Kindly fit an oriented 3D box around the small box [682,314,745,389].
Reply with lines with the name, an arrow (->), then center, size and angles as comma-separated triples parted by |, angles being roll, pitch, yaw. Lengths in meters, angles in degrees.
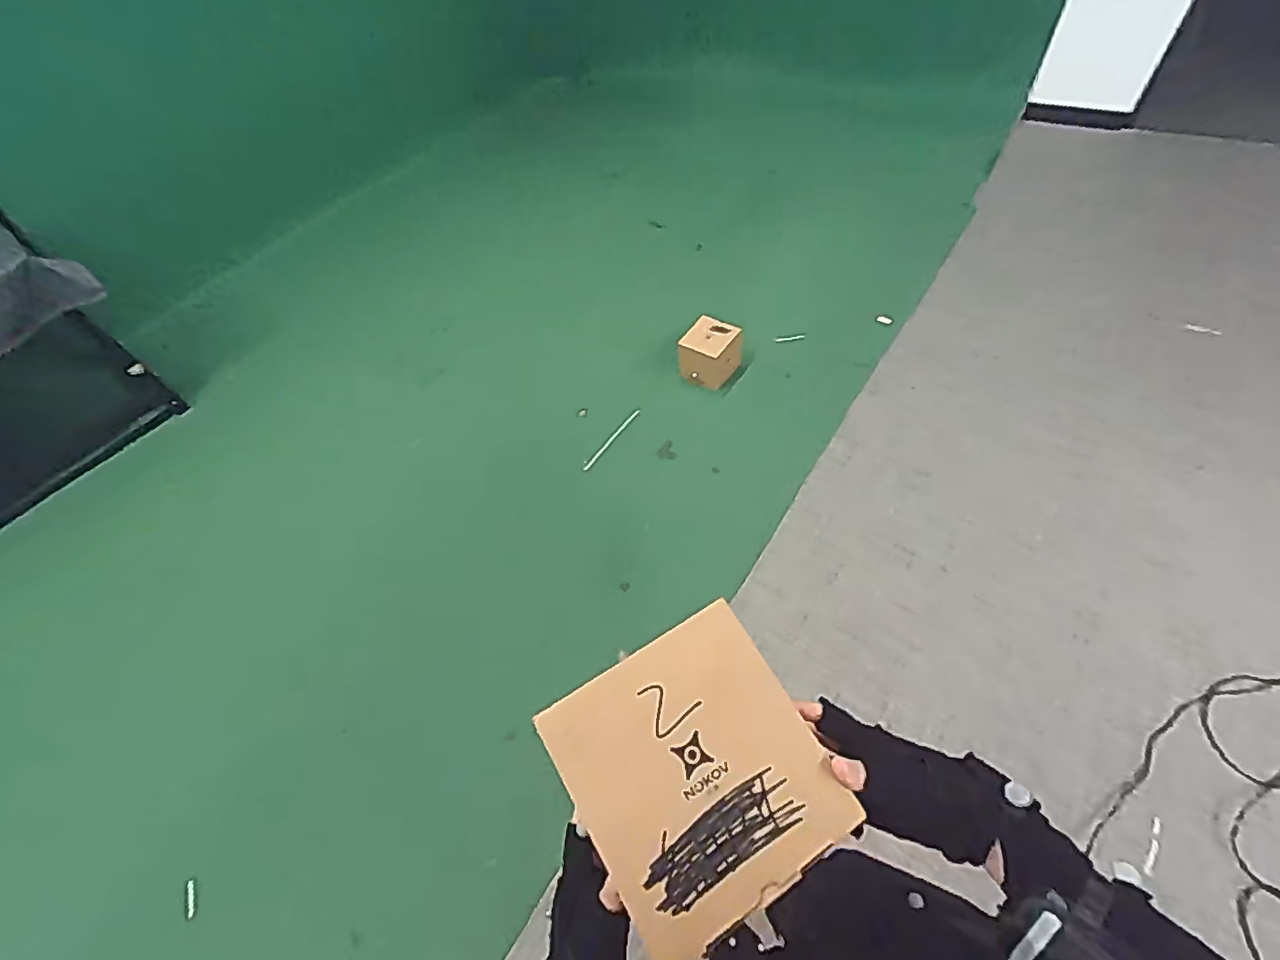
small box -> 0.268, -0.468, 1.980 | 0.168, 0.176, 0.179 | 28, 64, 25
